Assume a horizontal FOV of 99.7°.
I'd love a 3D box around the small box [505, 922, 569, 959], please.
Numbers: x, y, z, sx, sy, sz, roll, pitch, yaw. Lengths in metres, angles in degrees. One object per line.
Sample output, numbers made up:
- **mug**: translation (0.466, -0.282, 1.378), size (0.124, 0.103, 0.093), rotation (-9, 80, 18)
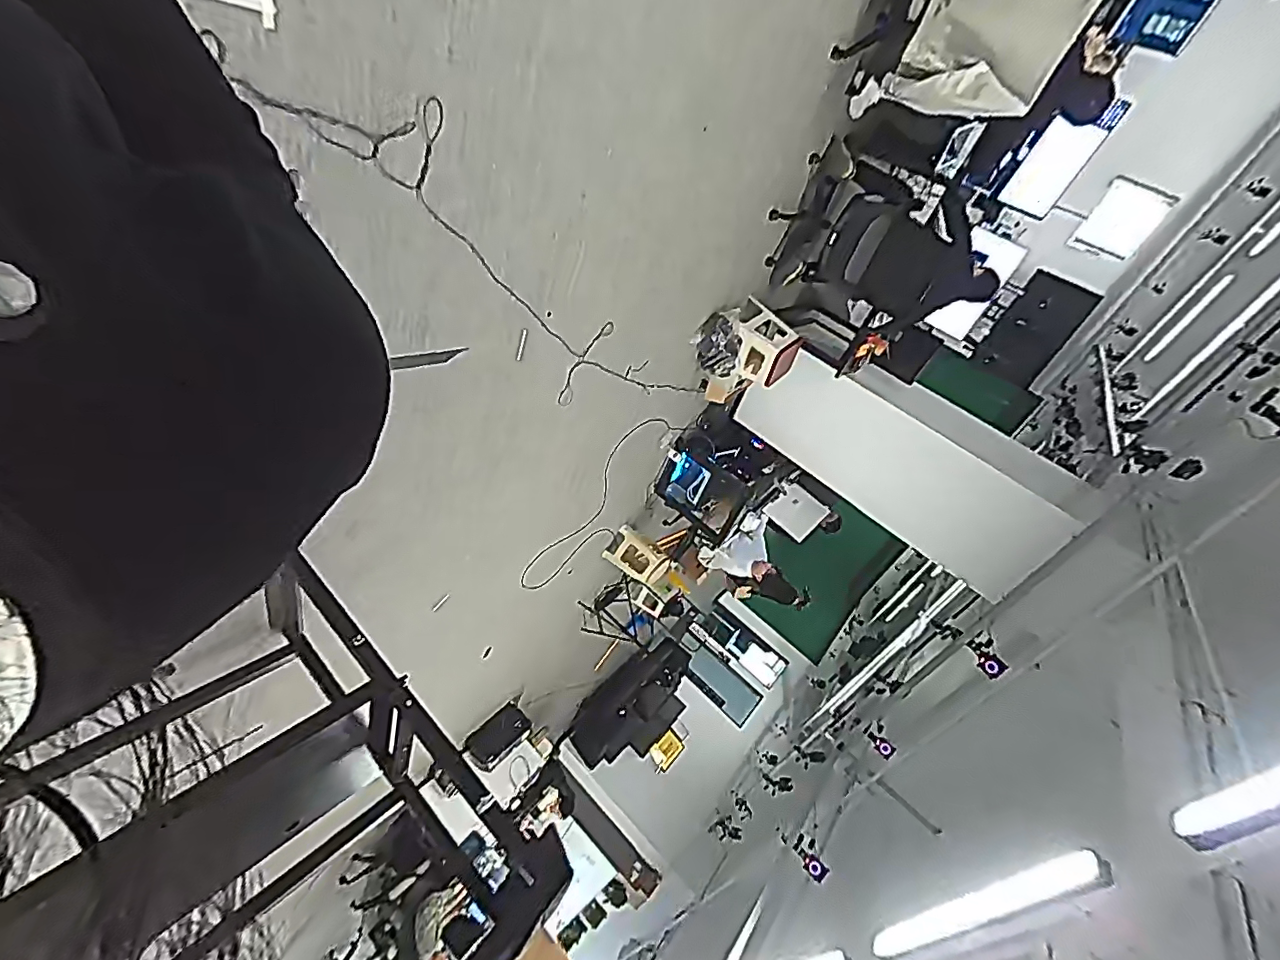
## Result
- **small box**: translation (-0.272, 1.248, 1.324), size (0.179, 0.176, 0.168), rotation (-18, 145, -54)
